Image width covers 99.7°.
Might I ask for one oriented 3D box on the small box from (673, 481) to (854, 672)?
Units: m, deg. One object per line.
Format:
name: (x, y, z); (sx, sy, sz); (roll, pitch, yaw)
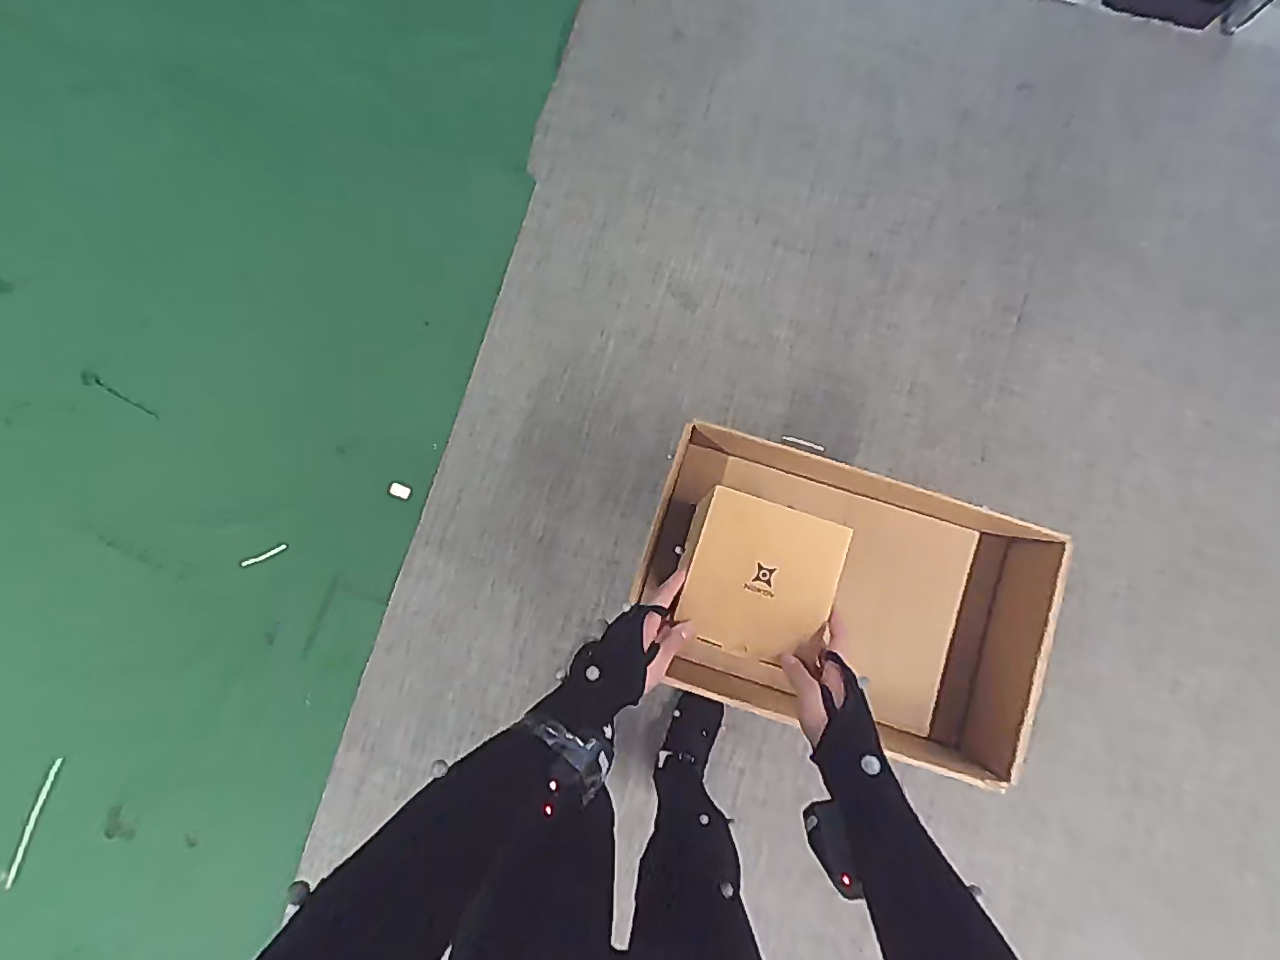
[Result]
small box: (0.143, 0.117, 0.689); (0.168, 0.176, 0.179); (18, 83, 4)
